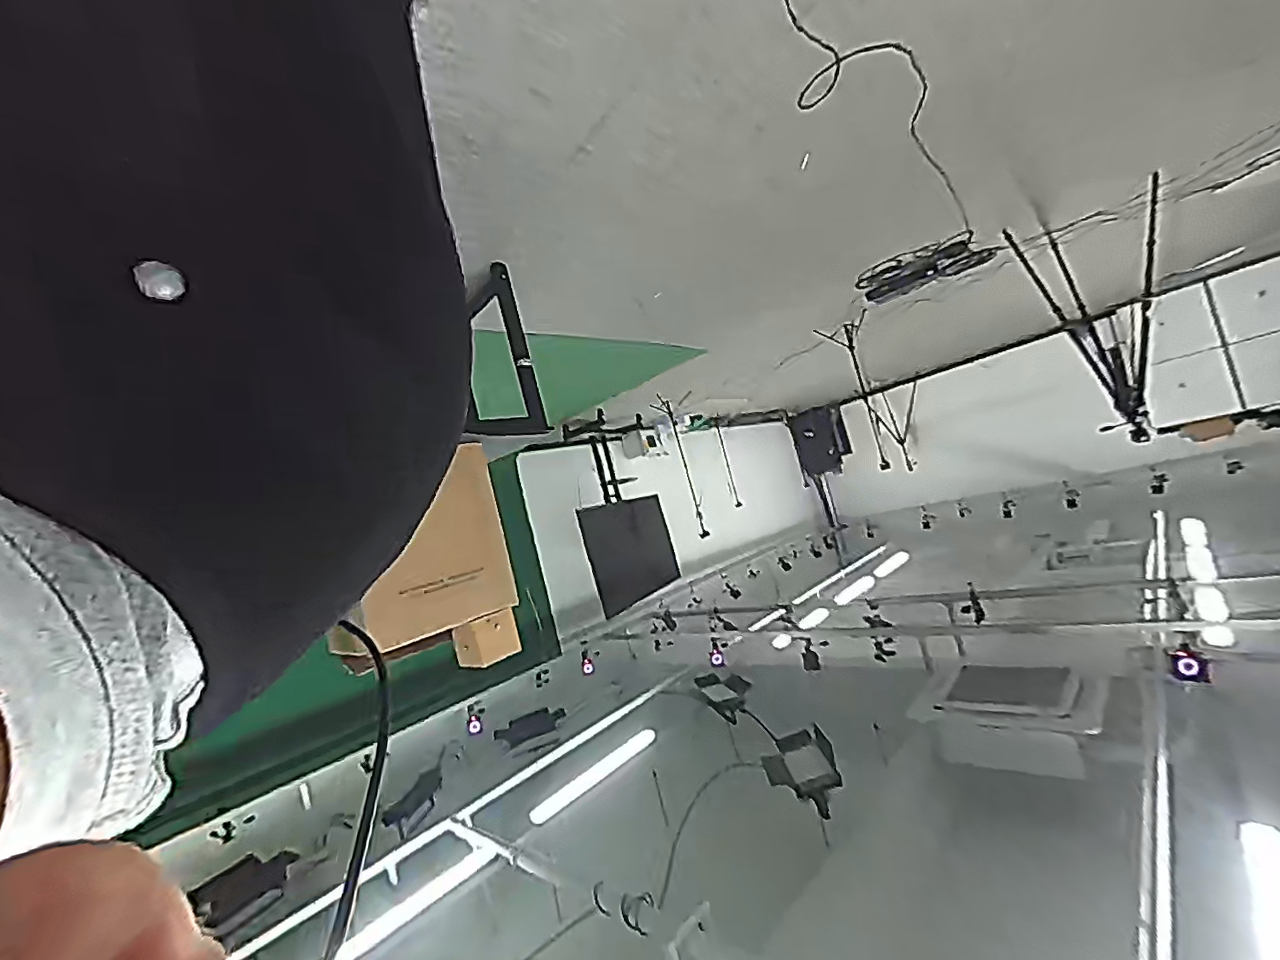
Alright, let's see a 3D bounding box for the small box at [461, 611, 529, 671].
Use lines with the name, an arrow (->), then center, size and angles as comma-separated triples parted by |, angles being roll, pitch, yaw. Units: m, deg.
small box -> -0.539, 0.592, 1.995 | 0.179, 0.176, 0.168 | -20, 176, 43
